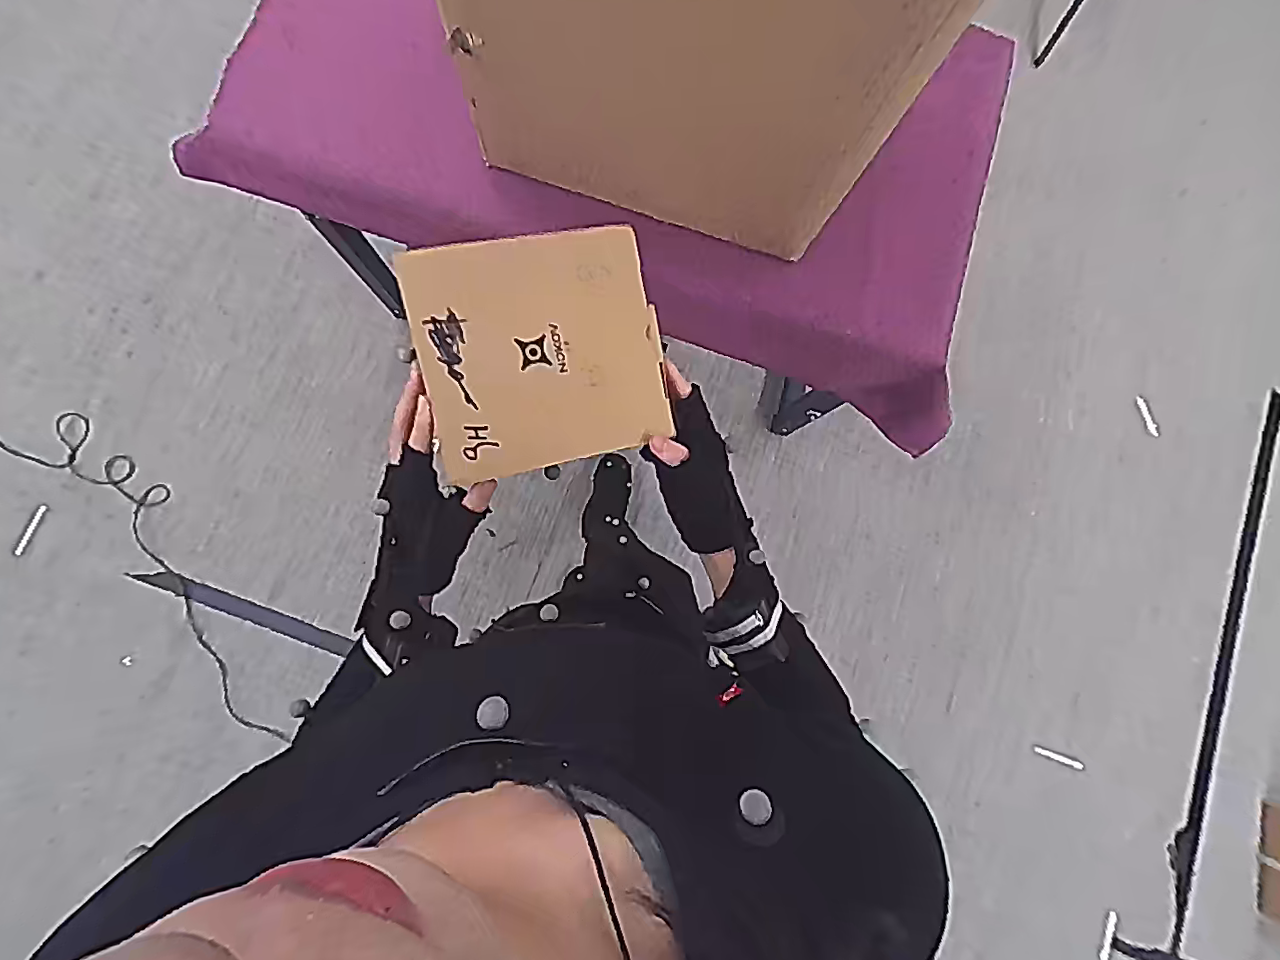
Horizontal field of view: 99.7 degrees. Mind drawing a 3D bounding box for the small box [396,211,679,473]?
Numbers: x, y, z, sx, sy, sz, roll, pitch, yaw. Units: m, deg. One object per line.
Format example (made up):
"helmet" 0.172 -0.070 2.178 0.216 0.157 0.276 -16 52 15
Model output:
"small box" -0.090 -0.105 0.460 0.179 0.176 0.168 -14 95 -17
